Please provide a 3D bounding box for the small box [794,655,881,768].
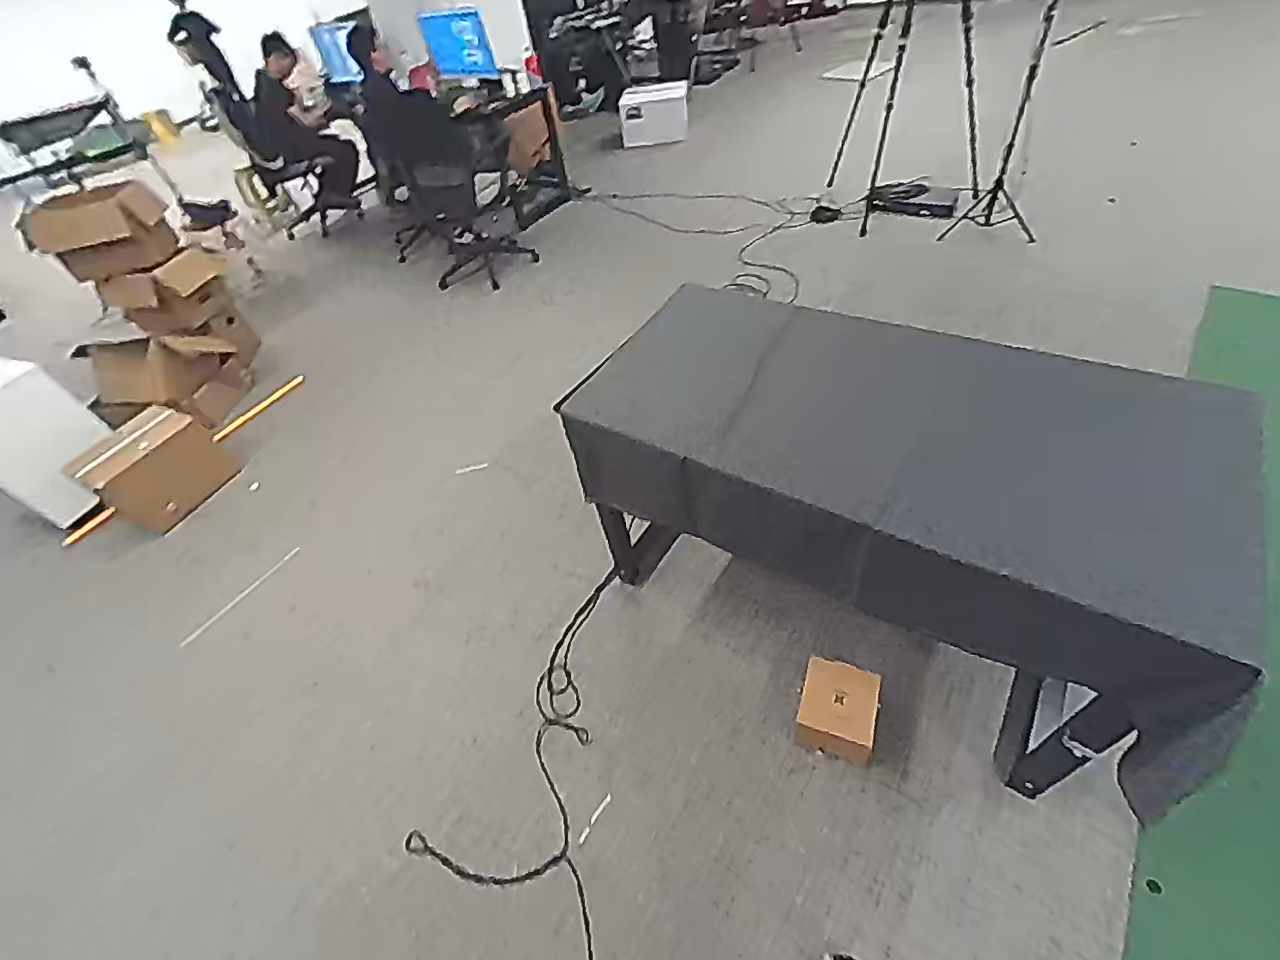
[{"bbox_3d":[0.476,0.565,1.316,0.168,0.176,0.179,12,50,22],"label":"small box"}]
